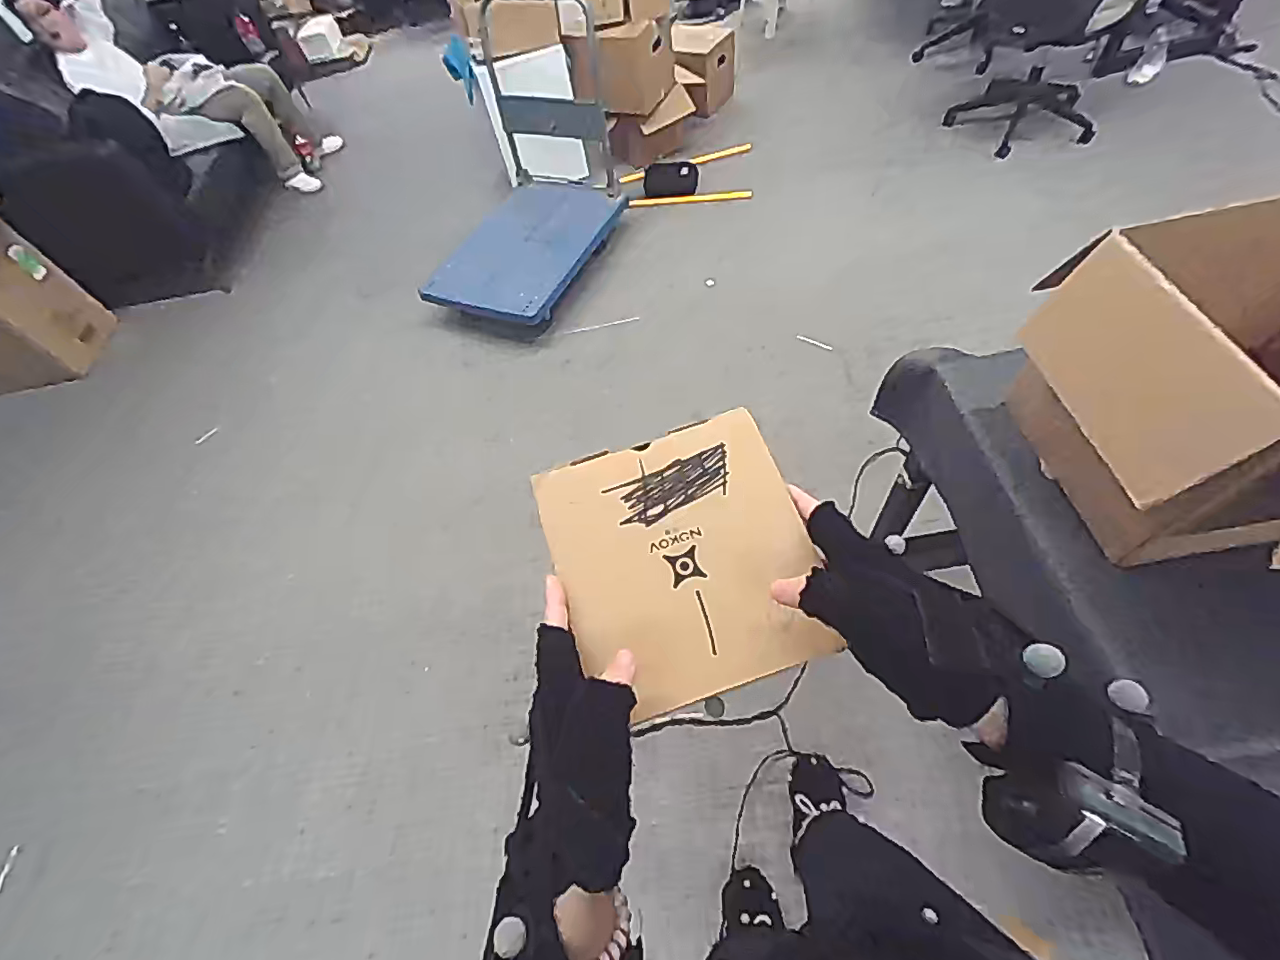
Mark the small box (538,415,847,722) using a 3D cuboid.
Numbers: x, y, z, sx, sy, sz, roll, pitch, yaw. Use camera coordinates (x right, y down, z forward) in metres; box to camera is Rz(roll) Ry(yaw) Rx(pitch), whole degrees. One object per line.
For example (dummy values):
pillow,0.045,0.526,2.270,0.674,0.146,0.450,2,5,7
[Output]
small box,0.030,0.080,0.434,0.168,0.176,0.179,-17,68,-4
